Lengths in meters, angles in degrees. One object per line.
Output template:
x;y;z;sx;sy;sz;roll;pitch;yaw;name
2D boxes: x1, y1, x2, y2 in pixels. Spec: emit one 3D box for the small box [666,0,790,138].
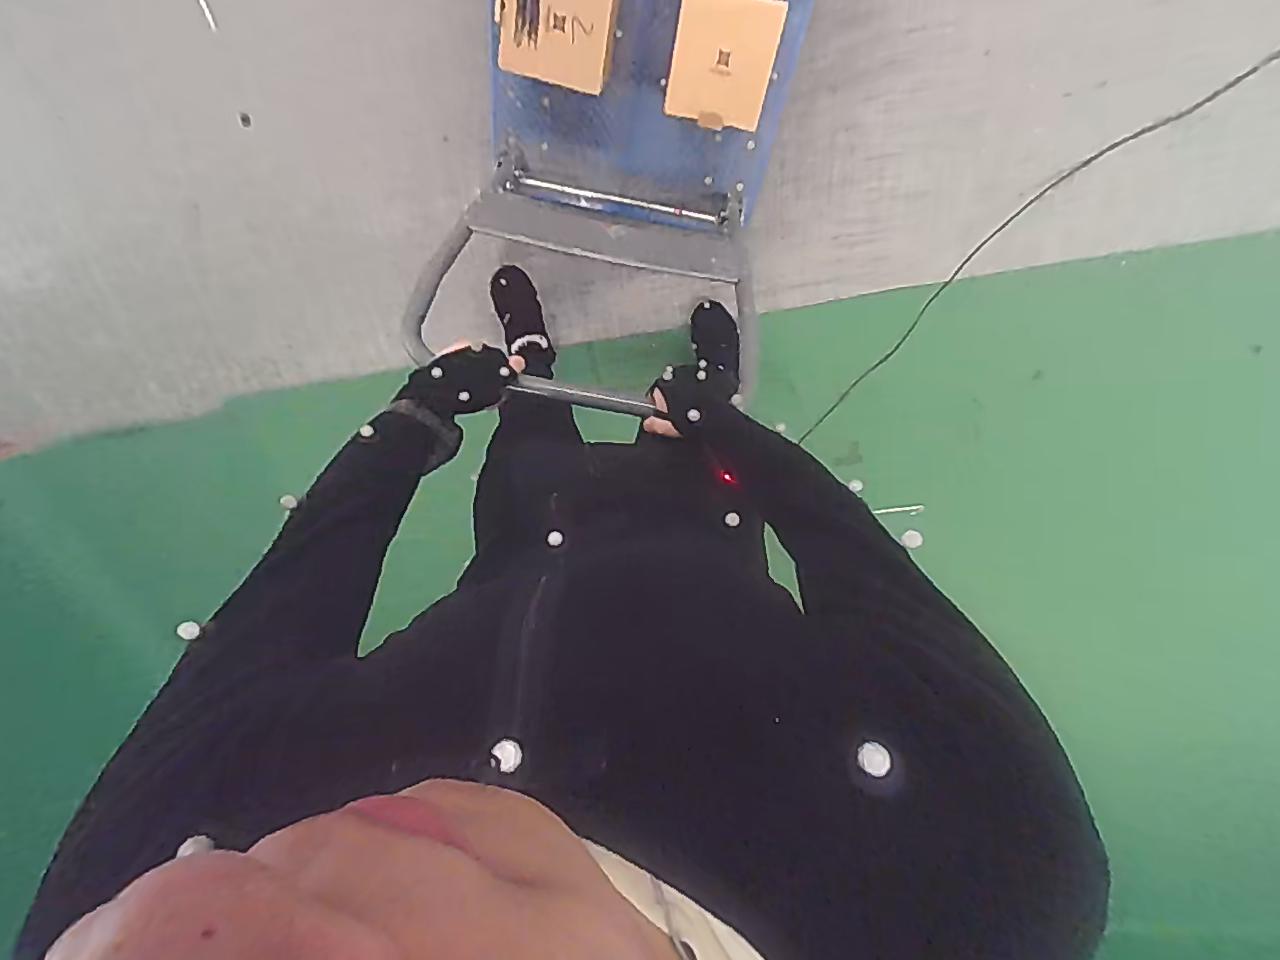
0.142;-0.732;0.944;0.168;0.176;0.179;10;134;-4;small box
